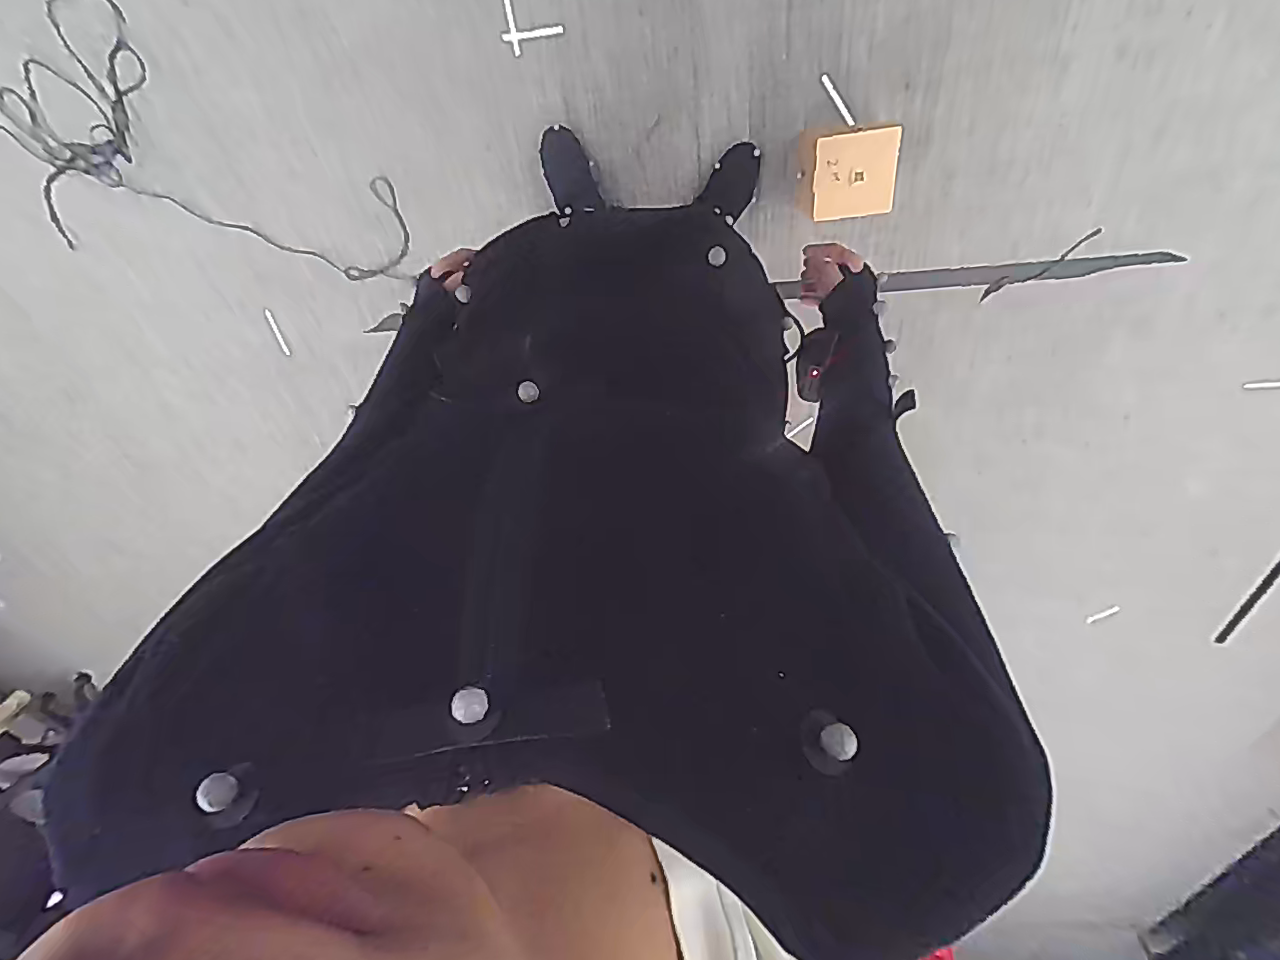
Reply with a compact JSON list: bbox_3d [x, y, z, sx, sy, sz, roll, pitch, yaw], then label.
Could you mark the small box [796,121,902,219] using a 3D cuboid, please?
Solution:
[{"bbox_3d":[0.467,-0.709,1.235,0.179,0.176,0.168,-4,126,6],"label":"small box"}]
